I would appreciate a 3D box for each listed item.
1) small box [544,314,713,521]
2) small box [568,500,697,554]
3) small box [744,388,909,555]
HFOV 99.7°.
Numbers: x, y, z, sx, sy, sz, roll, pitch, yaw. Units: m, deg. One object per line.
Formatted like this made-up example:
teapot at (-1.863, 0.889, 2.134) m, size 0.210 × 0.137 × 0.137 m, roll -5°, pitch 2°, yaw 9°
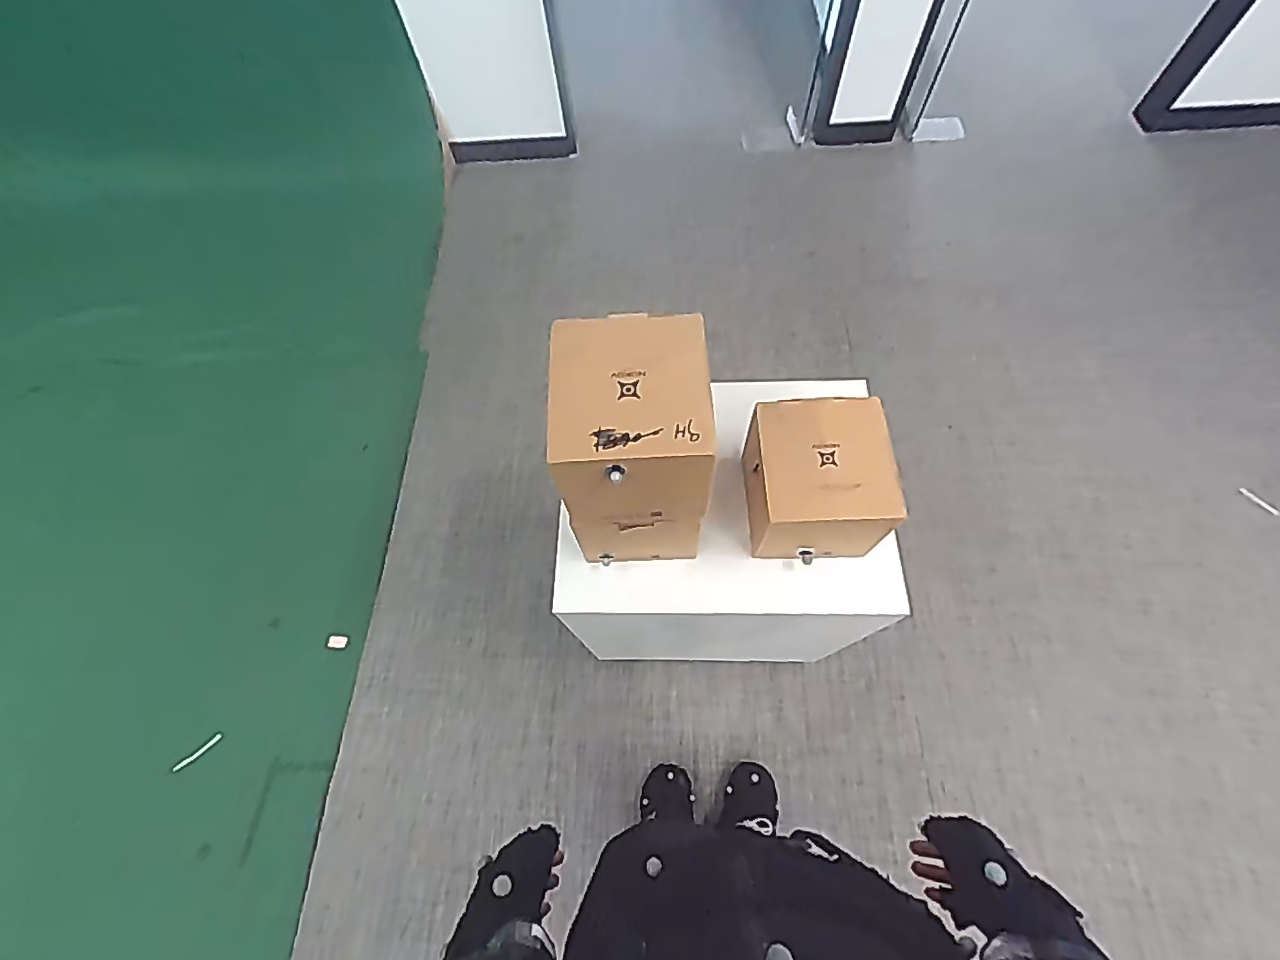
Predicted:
small box at (-0.010, -0.066, 0.627) m, size 0.168 × 0.176 × 0.179 m, roll -3°, pitch 64°, yaw 2°
small box at (-0.005, 0.003, 0.774) m, size 0.168 × 0.176 × 0.179 m, roll -3°, pitch 64°, yaw 2°
small box at (0.240, -0.006, 0.747) m, size 0.168 × 0.176 × 0.179 m, roll -4°, pitch 67°, yaw 4°
